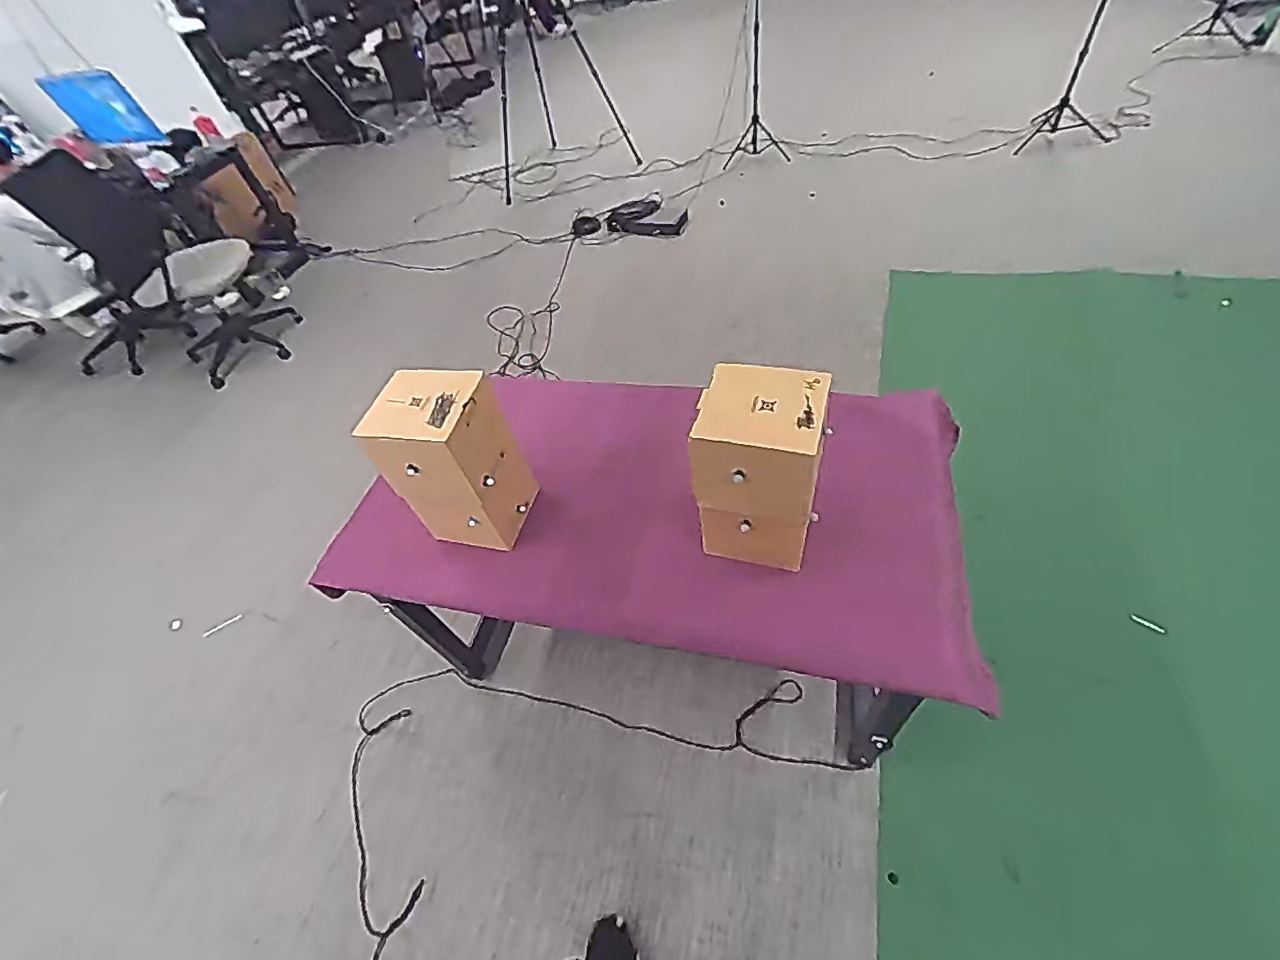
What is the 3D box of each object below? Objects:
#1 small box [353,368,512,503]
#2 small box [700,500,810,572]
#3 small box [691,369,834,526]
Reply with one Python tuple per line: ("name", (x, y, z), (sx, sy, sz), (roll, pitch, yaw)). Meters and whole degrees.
("small box", (-0.346, -0.075, 0.946), (0.179, 0.176, 0.168), (5, 52, 13))
("small box", (0.217, 0.046, 0.969), (0.179, 0.176, 0.168), (10, 54, 19))
("small box", (0.191, -0.048, 0.837), (0.179, 0.176, 0.168), (10, 54, 19))
